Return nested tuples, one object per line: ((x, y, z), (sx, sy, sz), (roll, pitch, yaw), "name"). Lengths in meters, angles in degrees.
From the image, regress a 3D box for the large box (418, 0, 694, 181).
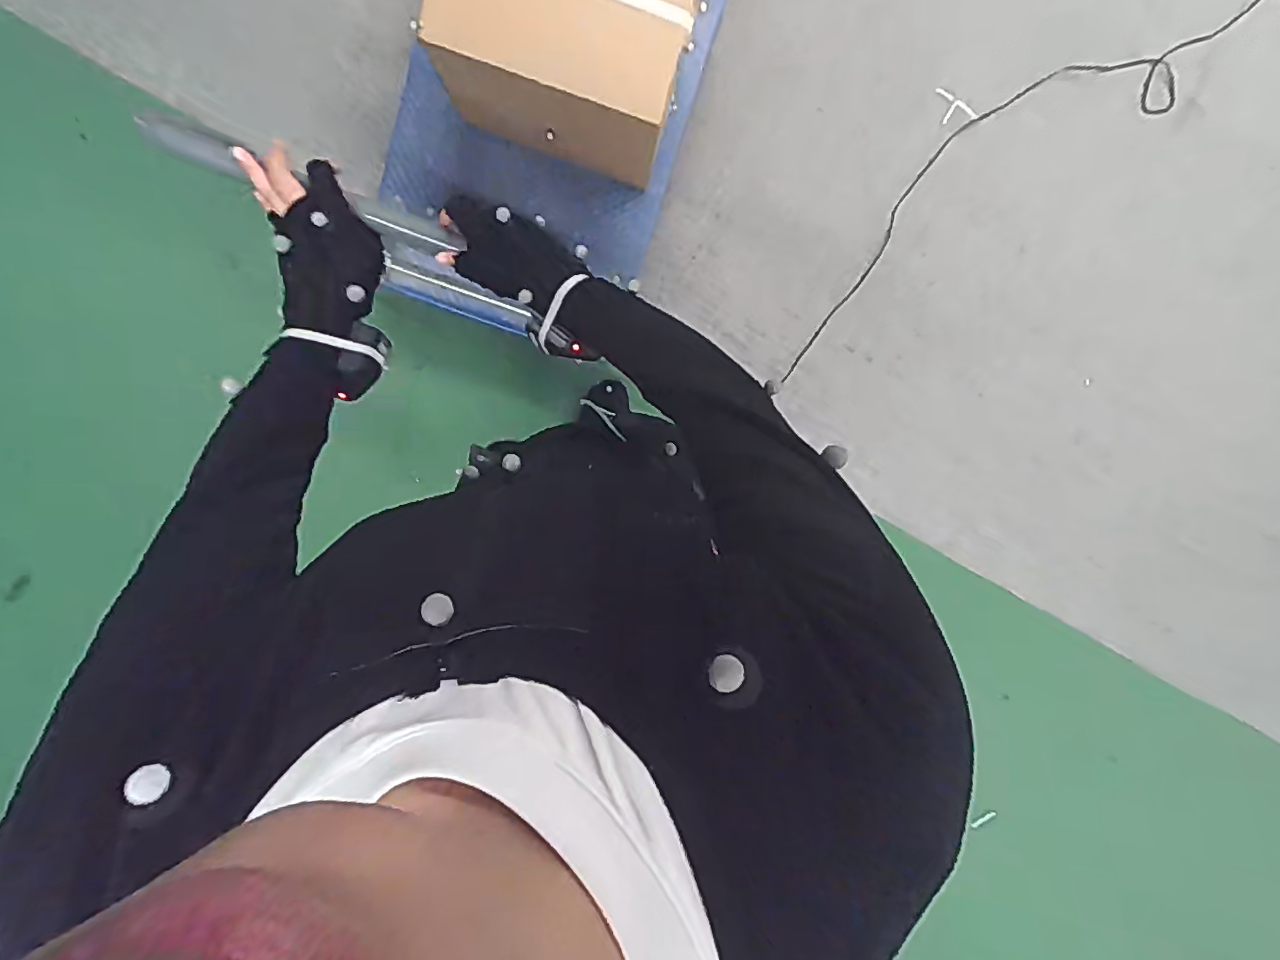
((-0.125, -0.814, 0.992), (0.408, 0.320, 0.320), (16, 98, -6), "large box")
